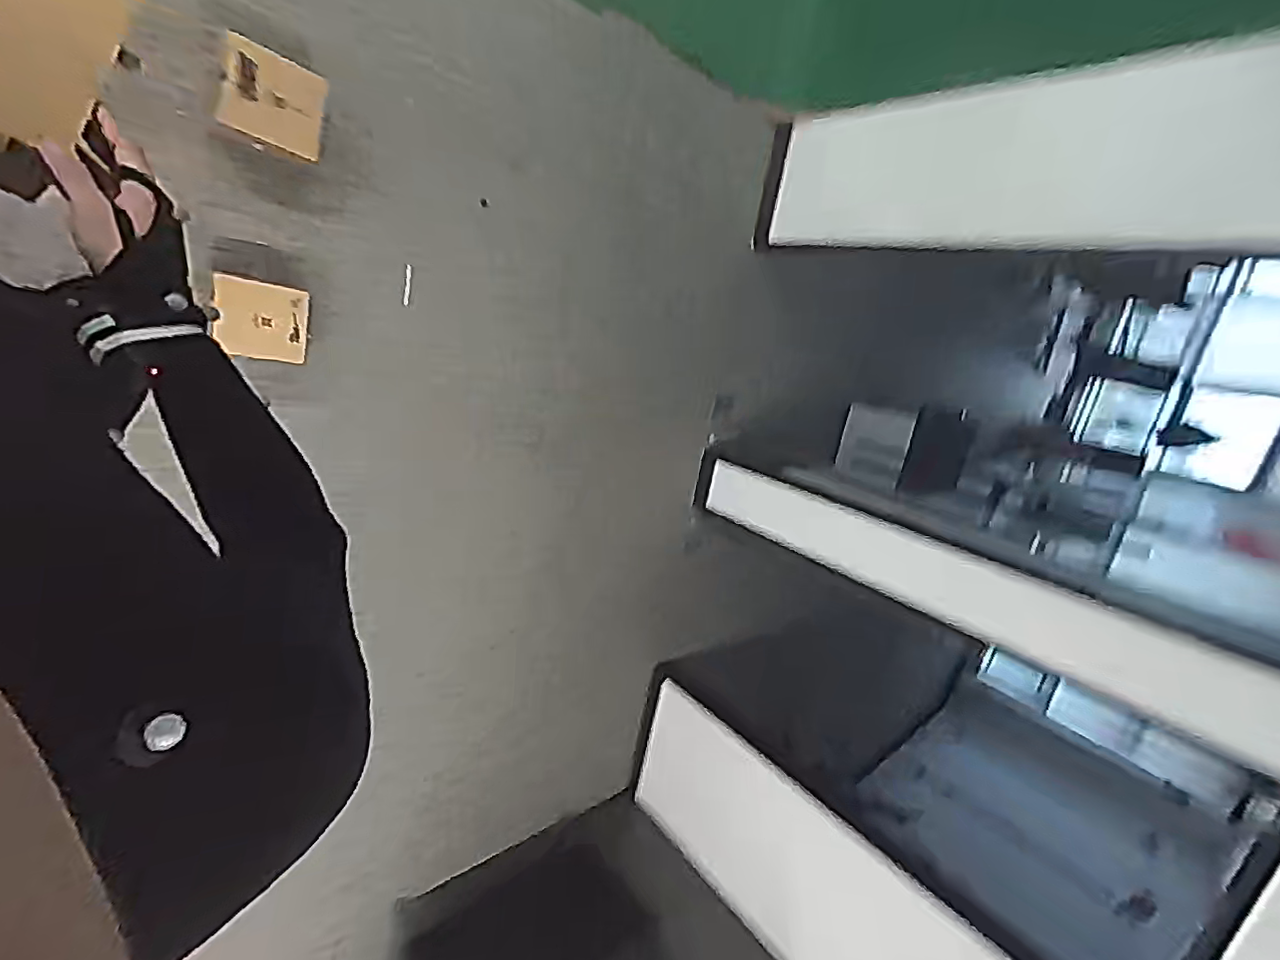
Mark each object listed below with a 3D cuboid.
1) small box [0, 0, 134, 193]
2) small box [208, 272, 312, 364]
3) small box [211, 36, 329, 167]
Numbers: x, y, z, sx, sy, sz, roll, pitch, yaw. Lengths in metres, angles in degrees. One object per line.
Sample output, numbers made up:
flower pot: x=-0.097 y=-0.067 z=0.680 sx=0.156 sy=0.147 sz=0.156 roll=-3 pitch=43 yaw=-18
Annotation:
small box: x=-0.554 y=-0.366 z=0.426 sx=0.168 sy=0.176 sz=0.179 roll=24 pitch=76 yaw=-53
small box: x=-0.884 y=-0.375 z=1.252 sx=0.179 sy=0.176 sz=0.168 roll=2 pitch=107 yaw=-43
small box: x=-0.801 y=-0.796 z=1.164 sx=0.179 sy=0.176 sz=0.168 roll=5 pitch=106 yaw=-45
